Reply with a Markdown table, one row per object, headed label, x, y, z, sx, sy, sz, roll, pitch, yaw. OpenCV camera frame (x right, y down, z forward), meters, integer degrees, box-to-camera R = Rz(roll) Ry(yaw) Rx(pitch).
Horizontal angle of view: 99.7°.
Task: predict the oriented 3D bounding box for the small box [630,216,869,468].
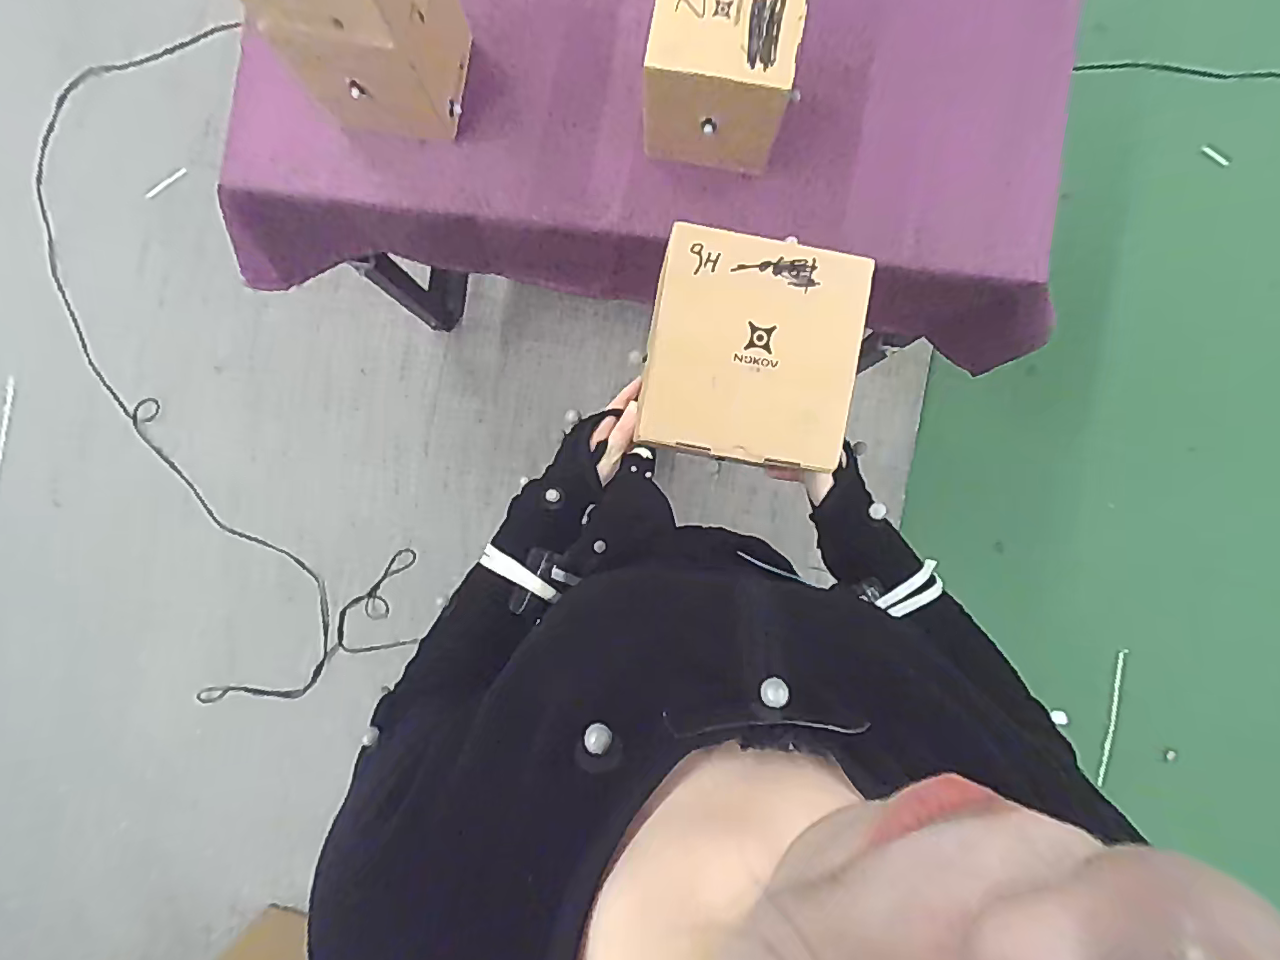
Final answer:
| label | x | y | z | sx | sy | sz | roll | pitch | yaw |
| --- | --- | --- | --- | --- | --- | --- | --- | --- | --- |
| small box | 0.086 | -0.114 | 0.512 | 0.168 | 0.176 | 0.179 | 10 | 93 | -3 |

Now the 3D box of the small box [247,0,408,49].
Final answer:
| label | x | y | z | sx | sy | sz | roll | pitch | yaw |
| --- | --- | --- | --- | --- | --- | --- | --- | --- | --- |
| small box | -0.341 | -0.590 | 0.546 | 0.168 | 0.176 | 0.179 | 10 | 87 | 1 |

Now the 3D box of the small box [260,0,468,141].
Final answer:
| label | x | y | z | sx | sy | sz | roll | pitch | yaw |
| --- | --- | --- | --- | --- | --- | --- | --- | --- | --- |
| small box | -0.343 | -0.582 | 0.709 | 0.179 | 0.176 | 0.168 | 9 | 88 | 1 |
